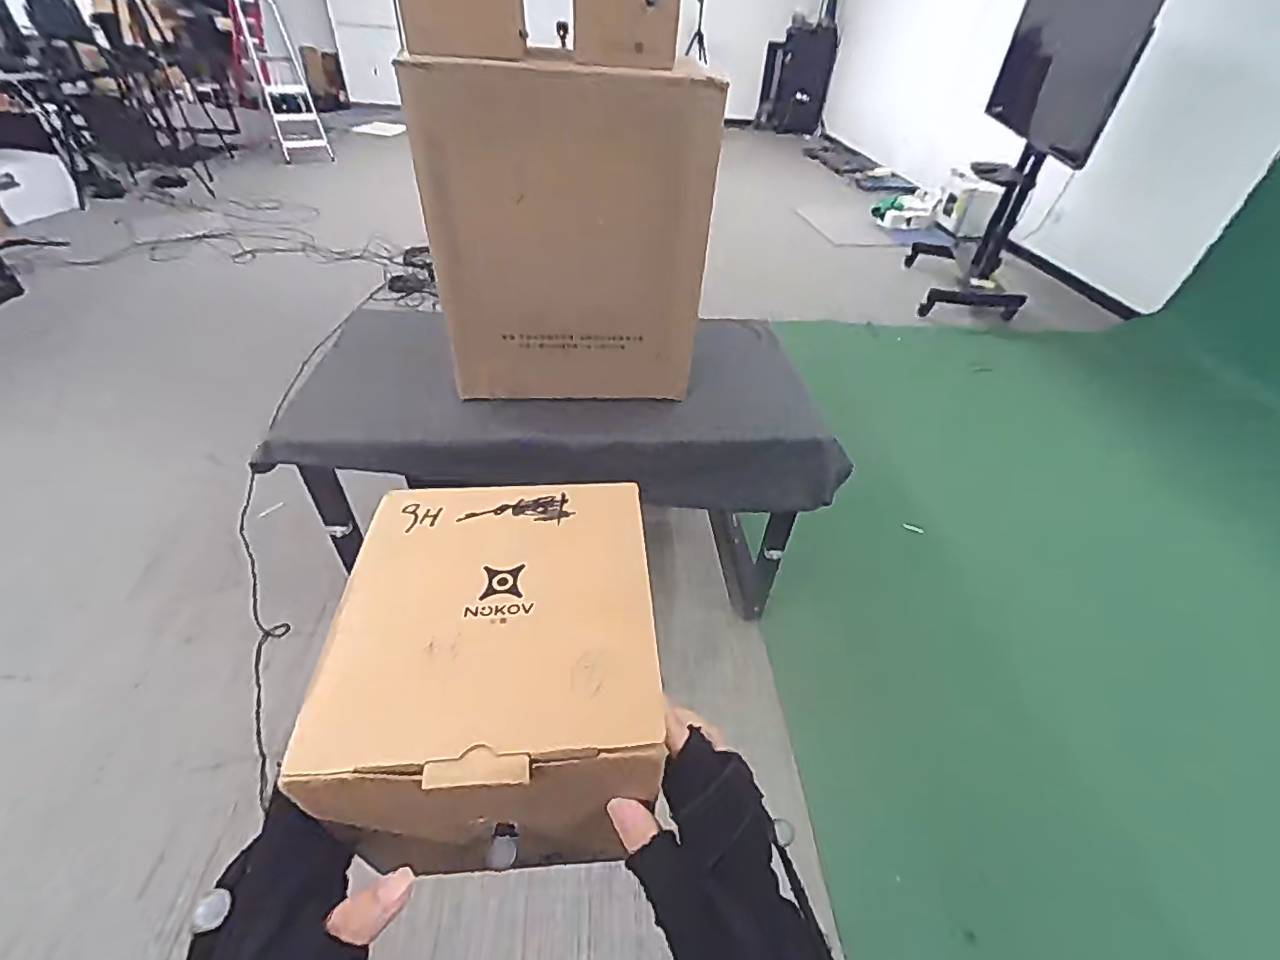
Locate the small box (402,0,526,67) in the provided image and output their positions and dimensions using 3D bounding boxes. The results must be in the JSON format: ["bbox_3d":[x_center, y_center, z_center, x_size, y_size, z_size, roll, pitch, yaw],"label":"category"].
[{"bbox_3d":[-0.273,-0.771,0.853,0.179,0.176,0.168,-2,45,-9],"label":"small box"}]

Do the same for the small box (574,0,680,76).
[{"bbox_3d":[-0.025,-0.781,0.888,0.168,0.176,0.179,1,43,-6],"label":"small box"}]

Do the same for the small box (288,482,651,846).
[{"bbox_3d":[-0.082,0.122,0.356,0.168,0.176,0.179,-1,45,-5],"label":"small box"}]
